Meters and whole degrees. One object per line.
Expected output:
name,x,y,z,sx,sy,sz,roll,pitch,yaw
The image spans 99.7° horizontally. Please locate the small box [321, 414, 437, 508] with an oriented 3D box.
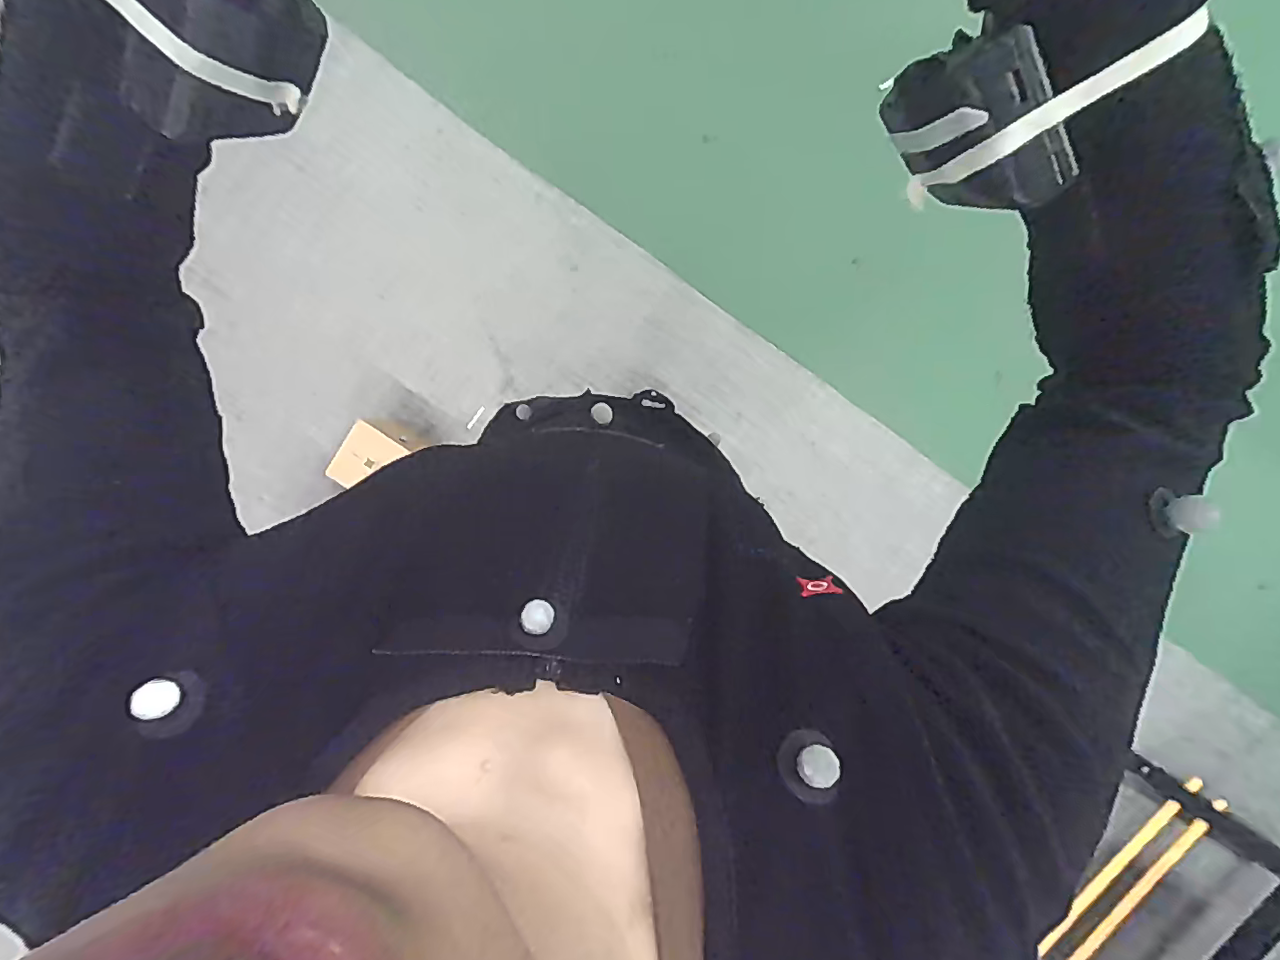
small box,-0.650,-0.056,1.373,0.179,0.176,0.168,34,96,-4
